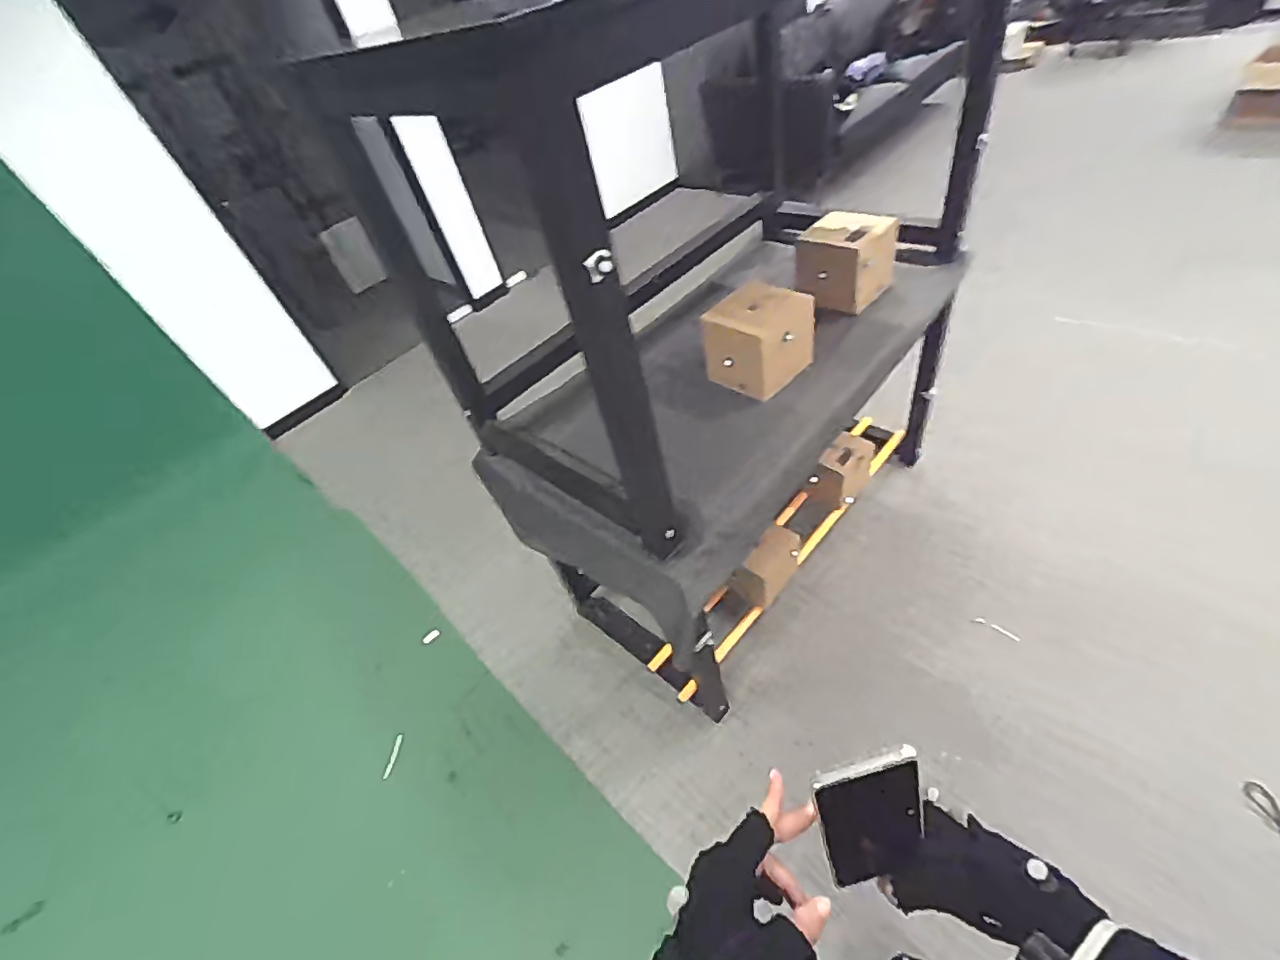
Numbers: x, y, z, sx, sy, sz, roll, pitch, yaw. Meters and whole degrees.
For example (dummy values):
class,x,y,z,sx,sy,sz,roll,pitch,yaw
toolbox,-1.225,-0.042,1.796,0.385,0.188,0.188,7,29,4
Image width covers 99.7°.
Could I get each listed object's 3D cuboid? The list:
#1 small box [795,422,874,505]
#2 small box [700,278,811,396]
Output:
class,x,y,z,sx,sy,sz,roll,pitch,yaw
small box,0.611,-0.046,1.711,0.168,0.176,0.179,-40,49,-22
small box,0.258,-0.311,1.184,0.179,0.176,0.168,-40,49,-22
